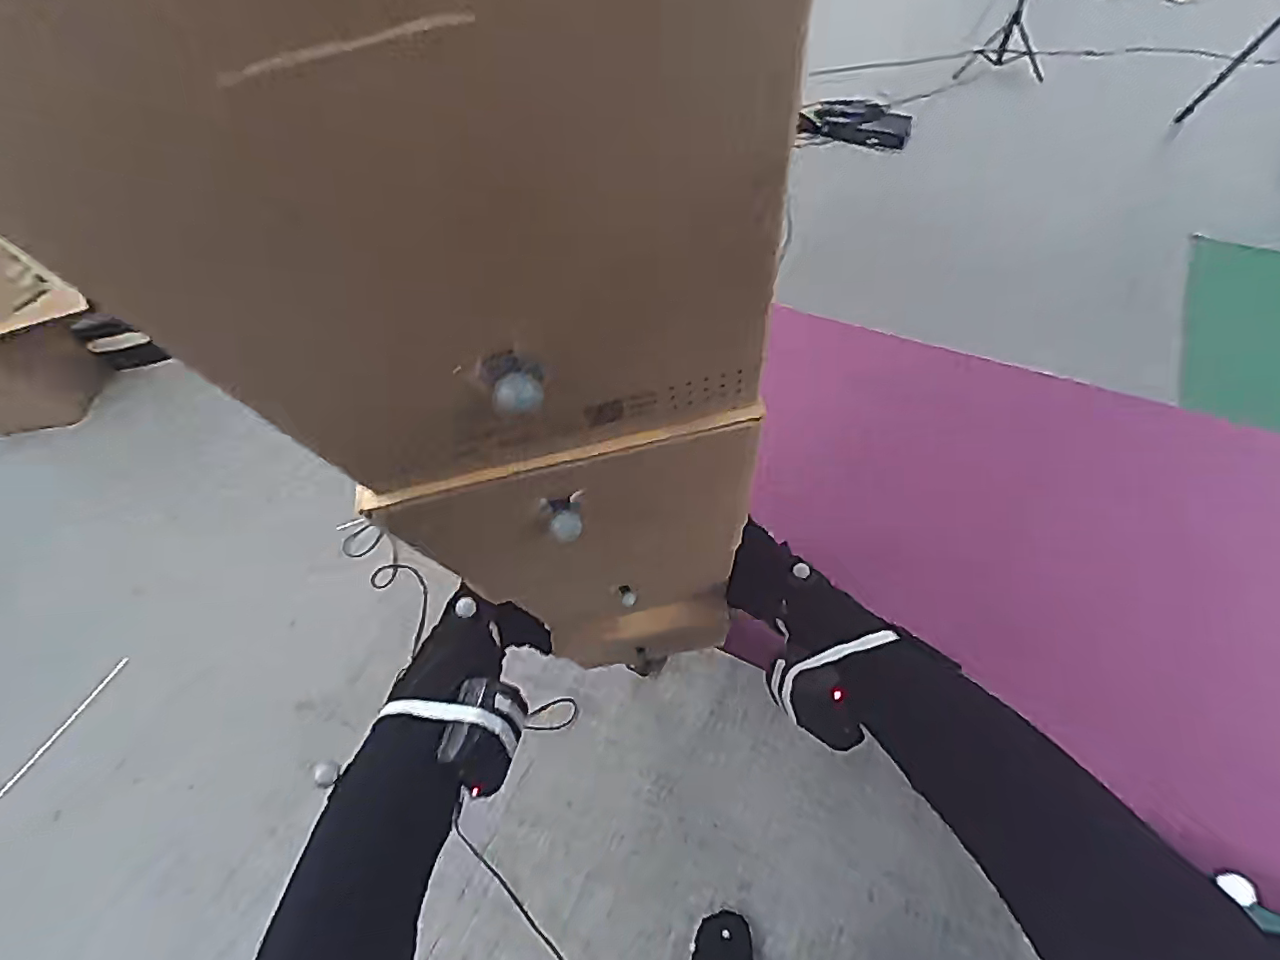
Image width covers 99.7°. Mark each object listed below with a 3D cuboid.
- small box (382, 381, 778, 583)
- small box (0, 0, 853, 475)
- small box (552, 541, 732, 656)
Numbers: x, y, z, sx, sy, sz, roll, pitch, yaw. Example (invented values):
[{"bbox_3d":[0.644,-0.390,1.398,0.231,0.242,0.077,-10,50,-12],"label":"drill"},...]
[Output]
[{"bbox_3d":[-0.031,-0.046,0.334,0.179,0.176,0.168,-12,65,2],"label":"small box"},{"bbox_3d":[-0.048,-0.124,0.190,0.168,0.176,0.179,-11,66,2],"label":"small box"},{"bbox_3d":[0.001,0.101,0.625,0.179,0.176,0.168,-9,65,2],"label":"small box"}]
